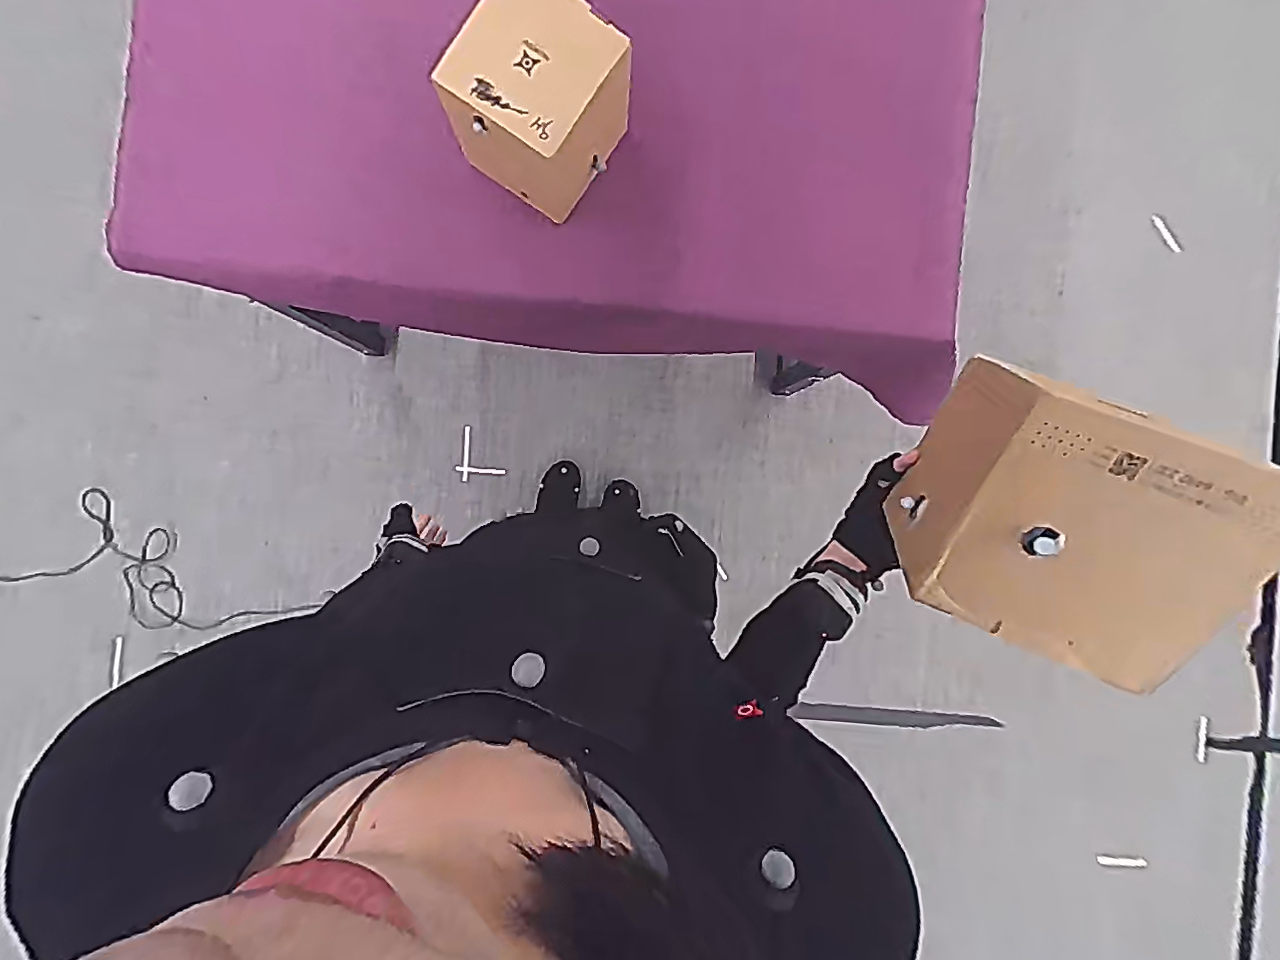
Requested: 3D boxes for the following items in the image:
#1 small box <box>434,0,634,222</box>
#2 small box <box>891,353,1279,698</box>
[{"bbox_3d":[-0.128,-0.481,0.697,0.168,0.176,0.179,34,87,-3],"label":"small box"},{"bbox_3d":[0.318,0.016,0.407,0.168,0.179,0.176,23,116,9],"label":"small box"}]
